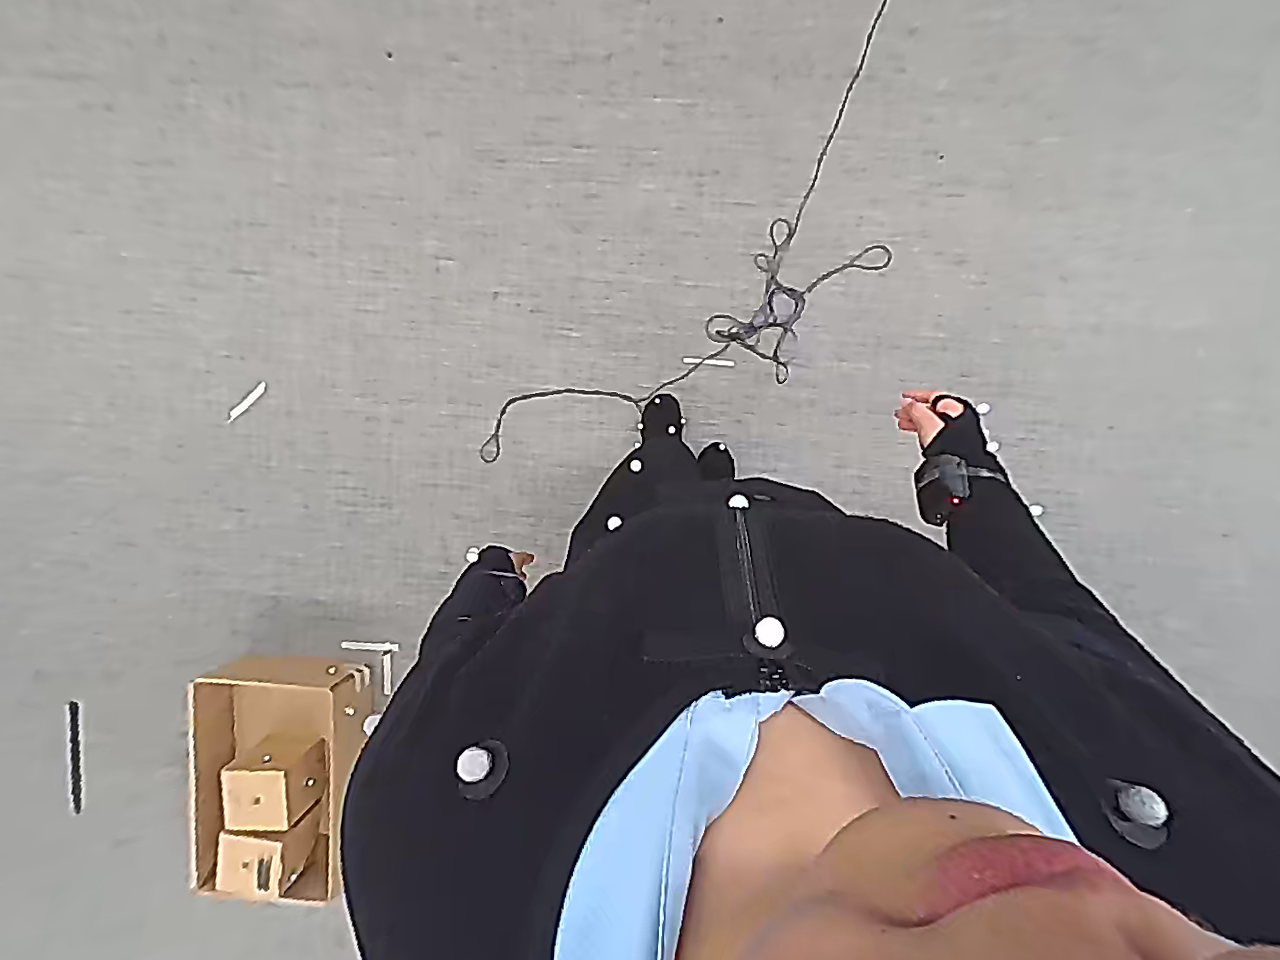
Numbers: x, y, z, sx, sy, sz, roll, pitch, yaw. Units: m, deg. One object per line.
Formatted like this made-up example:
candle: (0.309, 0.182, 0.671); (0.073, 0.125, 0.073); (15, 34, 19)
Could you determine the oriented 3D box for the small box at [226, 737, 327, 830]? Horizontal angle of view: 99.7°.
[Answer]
small box: (-0.998, 0.836, 1.502); (0.179, 0.176, 0.168); (-1, 94, 3)
